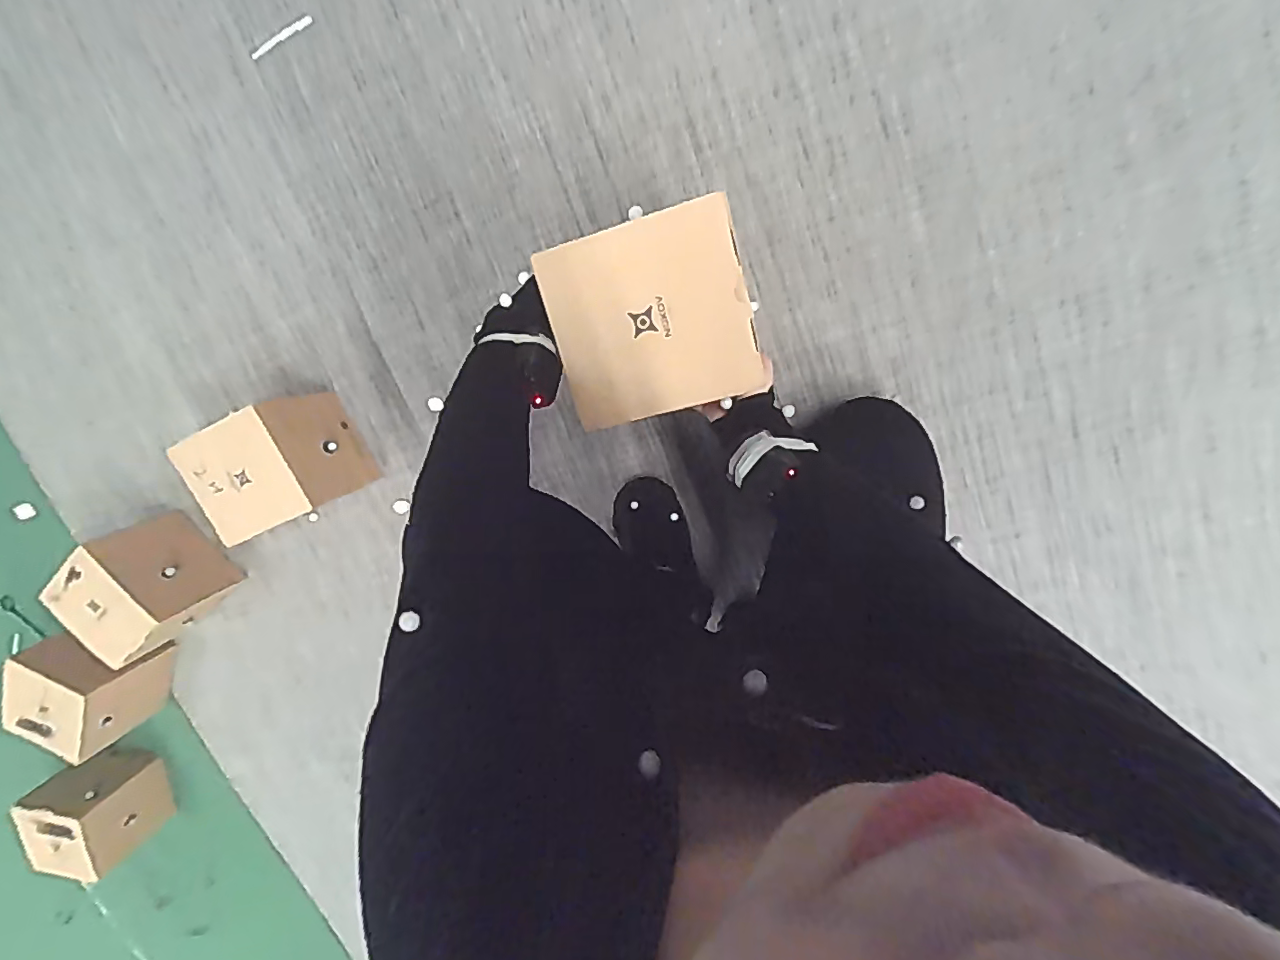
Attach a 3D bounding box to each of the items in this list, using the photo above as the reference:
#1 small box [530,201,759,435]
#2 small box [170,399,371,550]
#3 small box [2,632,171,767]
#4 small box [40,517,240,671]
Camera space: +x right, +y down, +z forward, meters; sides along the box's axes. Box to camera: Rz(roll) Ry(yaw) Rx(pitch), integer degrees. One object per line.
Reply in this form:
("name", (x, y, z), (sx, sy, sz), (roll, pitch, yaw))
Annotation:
("small box", (0.017, -0.157, 0.553), (0.179, 0.176, 0.168), (-13, 104, 13))
("small box", (-0.563, -0.017, 0.856), (0.179, 0.176, 0.168), (-21, 100, 14))
("small box", (-1.074, 0.406, 1.059), (0.168, 0.176, 0.179), (25, 107, 2))
("small box", (-0.880, 0.196, 0.969), (0.168, 0.176, 0.179), (-37, 97, 17))
